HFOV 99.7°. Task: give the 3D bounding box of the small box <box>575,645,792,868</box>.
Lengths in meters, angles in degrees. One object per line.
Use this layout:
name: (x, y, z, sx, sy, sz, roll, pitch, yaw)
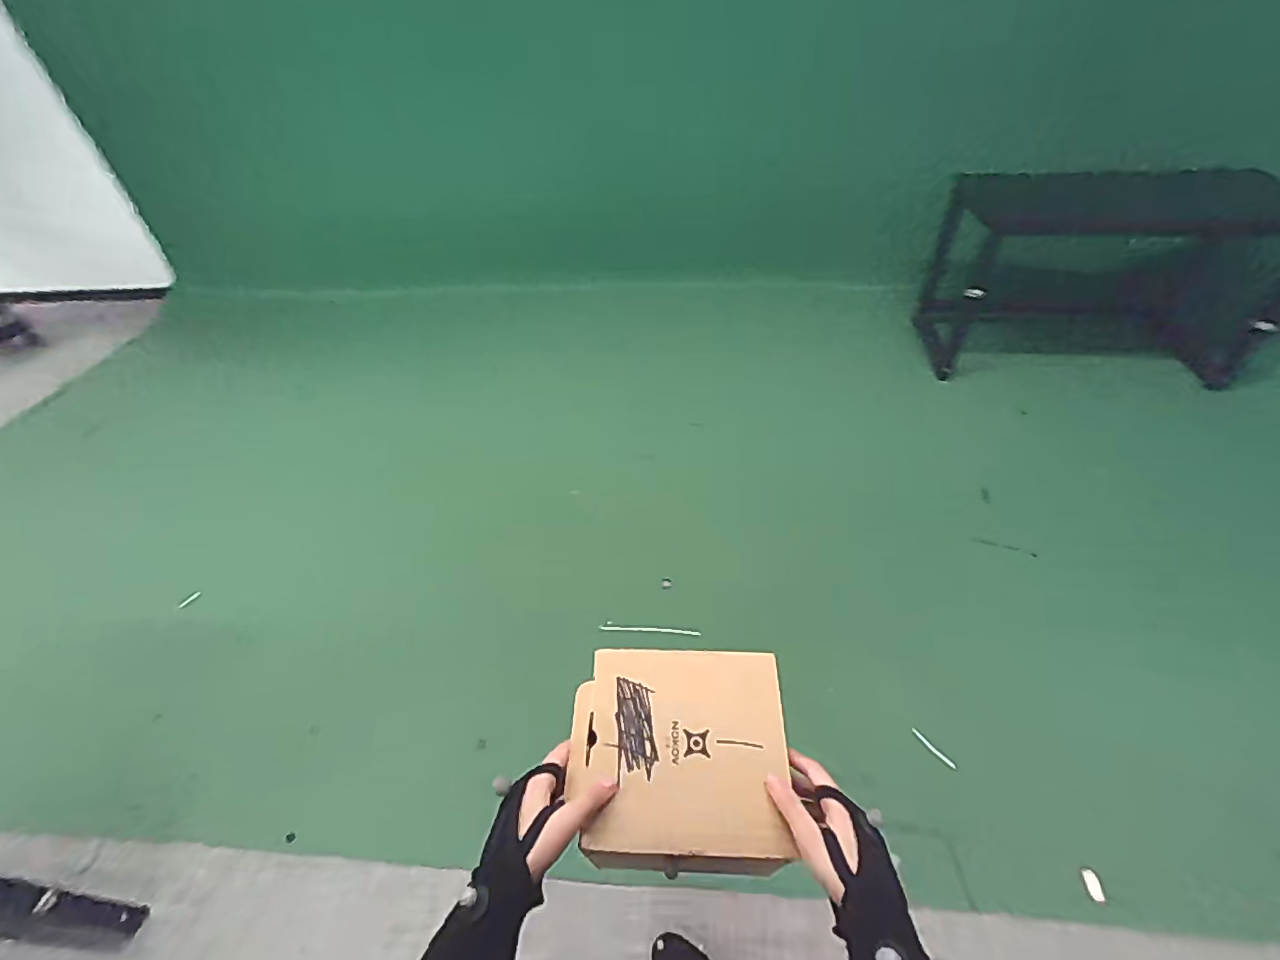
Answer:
small box: (0.038, 0.278, 0.539, 0.179, 0.176, 0.168, 1, 50, 1)
